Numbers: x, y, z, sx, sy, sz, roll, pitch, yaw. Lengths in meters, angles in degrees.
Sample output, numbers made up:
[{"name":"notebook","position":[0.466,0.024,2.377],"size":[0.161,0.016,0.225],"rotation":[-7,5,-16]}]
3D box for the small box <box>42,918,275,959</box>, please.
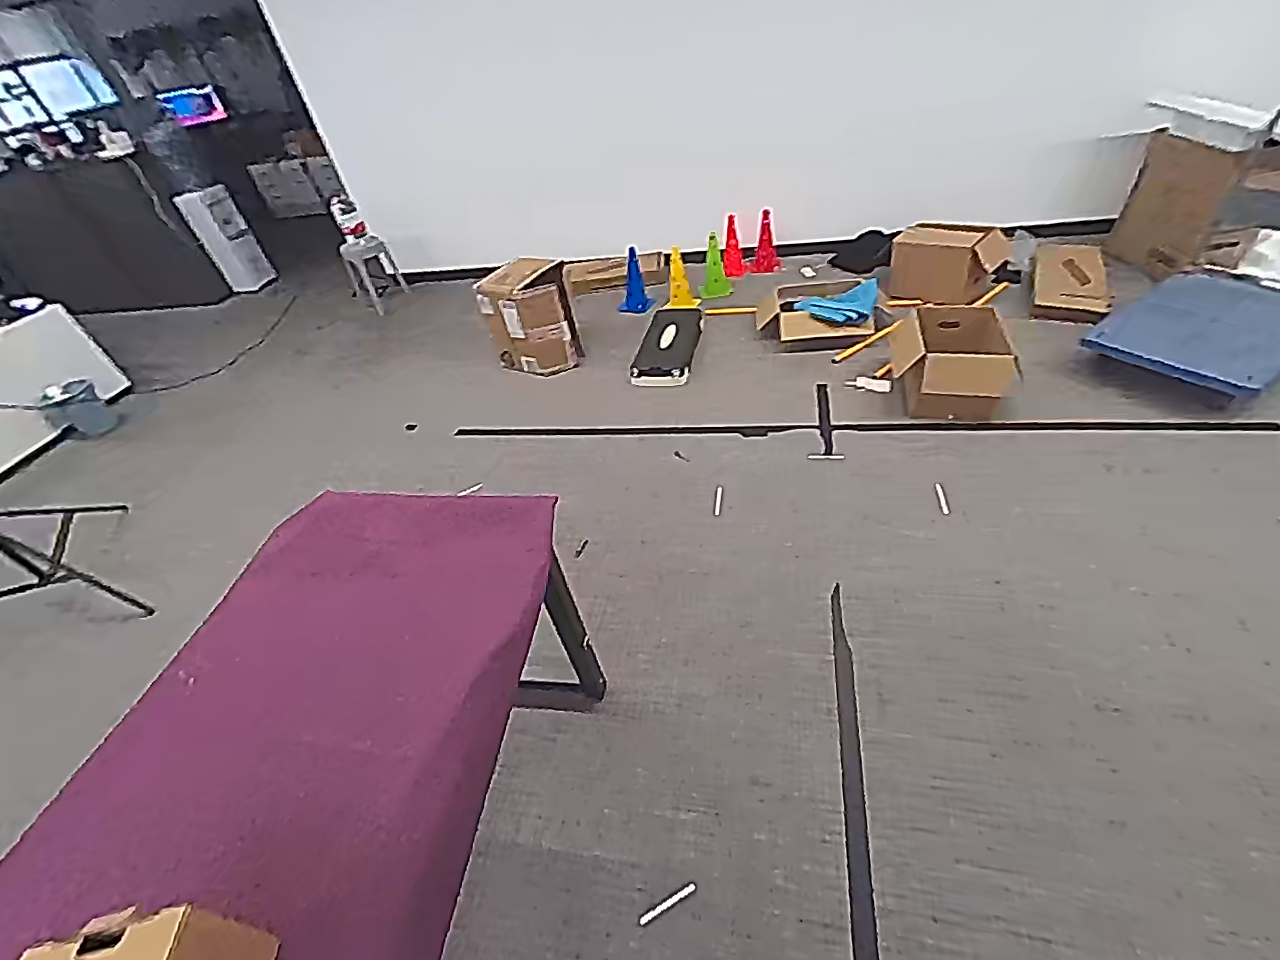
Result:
[{"name":"small box","position":[-0.505,0.578,0.534],"size":[0.168,0.176,0.179],"rotation":[-15,40,-4]}]
